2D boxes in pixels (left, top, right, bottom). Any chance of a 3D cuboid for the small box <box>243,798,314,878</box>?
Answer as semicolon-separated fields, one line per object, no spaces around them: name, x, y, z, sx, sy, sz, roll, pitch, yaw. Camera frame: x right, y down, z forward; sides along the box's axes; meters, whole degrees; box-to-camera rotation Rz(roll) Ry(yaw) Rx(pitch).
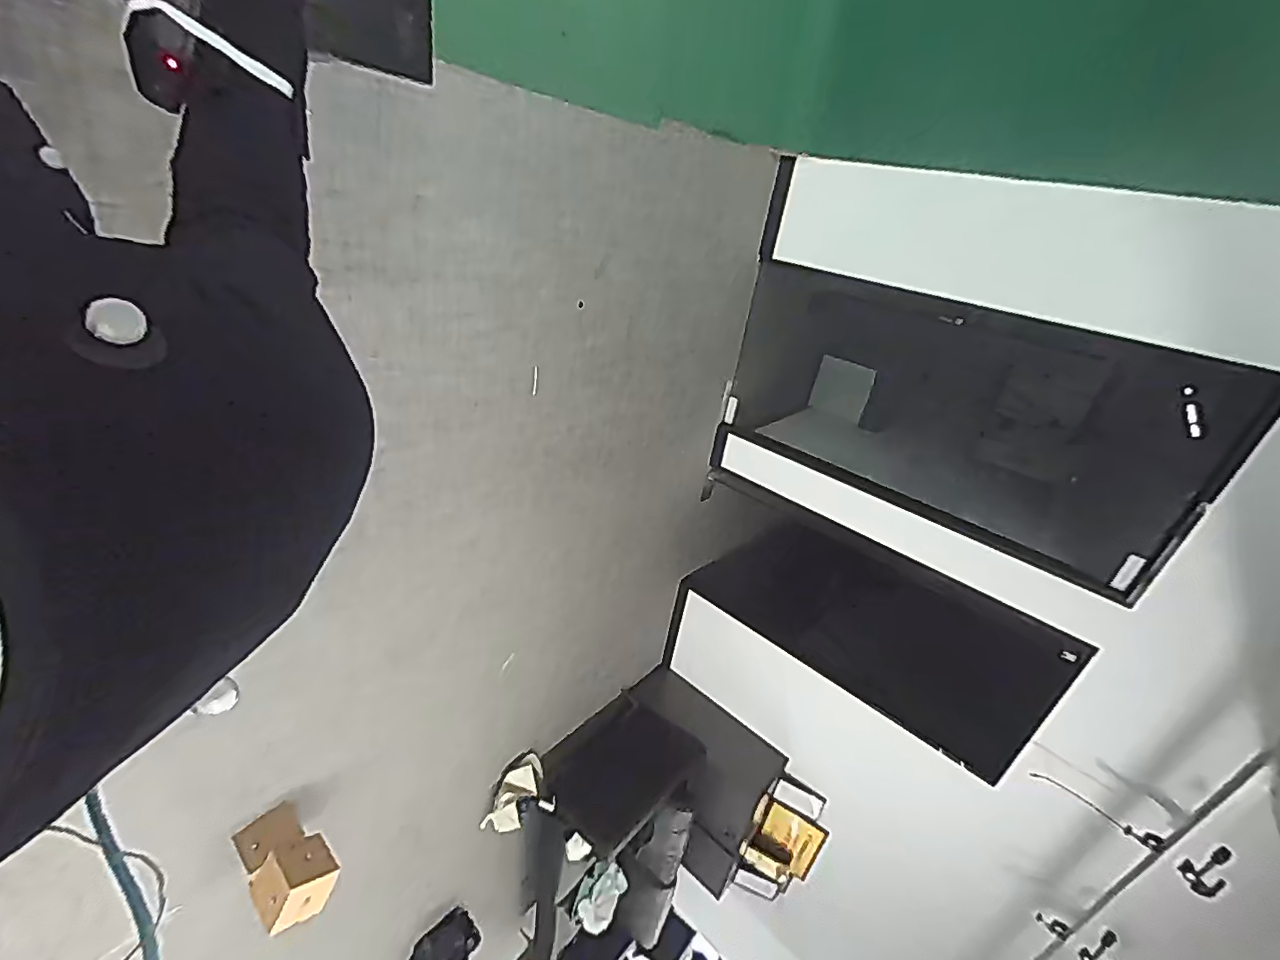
small box;-1.258;1.274;1.896;0.179;0.176;0.168;-28;136;-42

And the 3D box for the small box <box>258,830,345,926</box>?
small box;-1.141;1.320;1.816;0.168;0.176;0.179;21;97;-58
